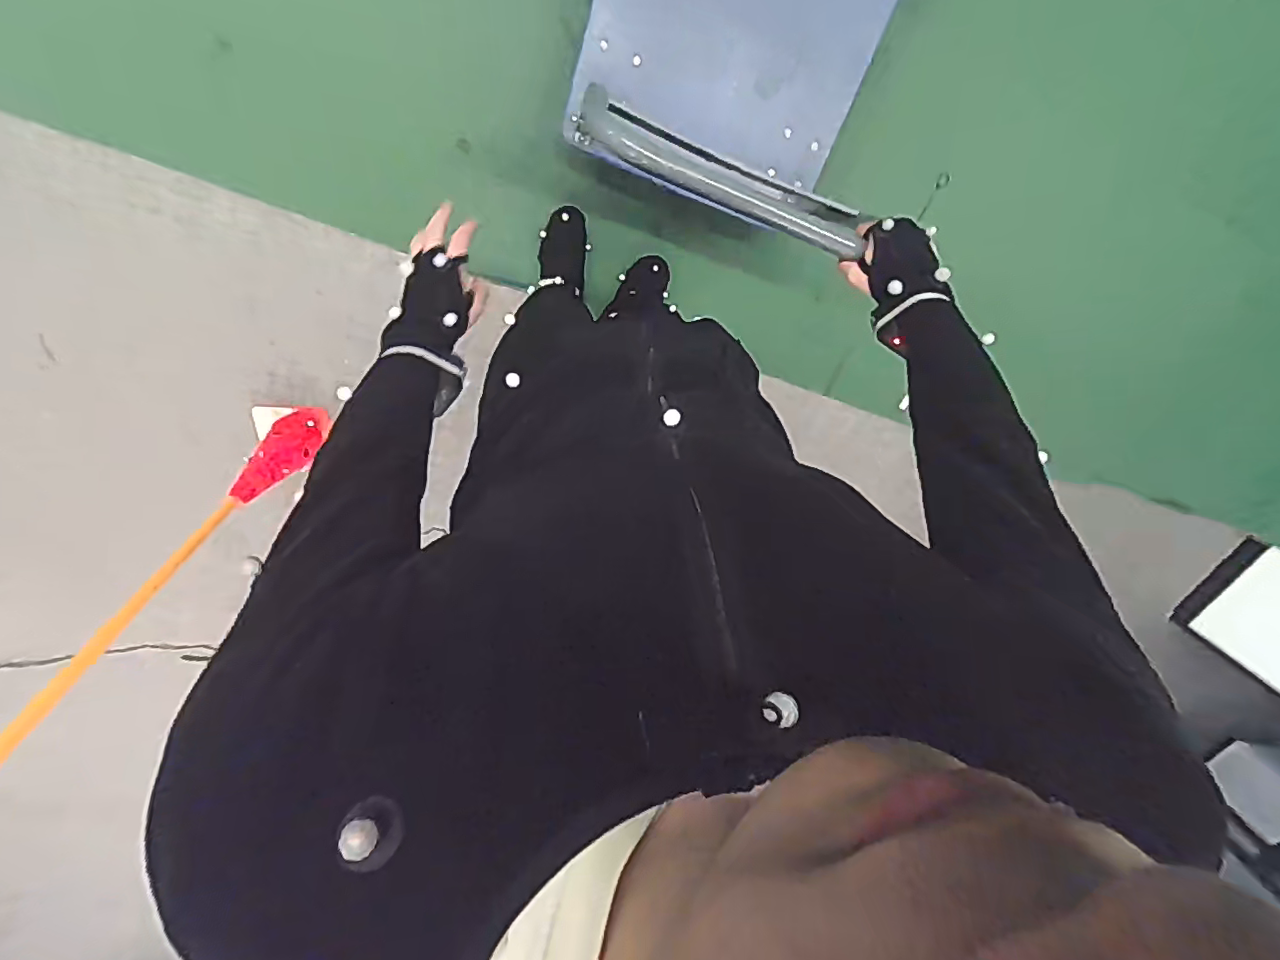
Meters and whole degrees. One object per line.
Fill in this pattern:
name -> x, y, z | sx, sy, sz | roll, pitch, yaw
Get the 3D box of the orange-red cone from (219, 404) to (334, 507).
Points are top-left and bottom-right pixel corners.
orange-red cone -> -0.967, -0.036, 1.390 | 0.199, 0.360, 0.198 | 2, 119, -8
